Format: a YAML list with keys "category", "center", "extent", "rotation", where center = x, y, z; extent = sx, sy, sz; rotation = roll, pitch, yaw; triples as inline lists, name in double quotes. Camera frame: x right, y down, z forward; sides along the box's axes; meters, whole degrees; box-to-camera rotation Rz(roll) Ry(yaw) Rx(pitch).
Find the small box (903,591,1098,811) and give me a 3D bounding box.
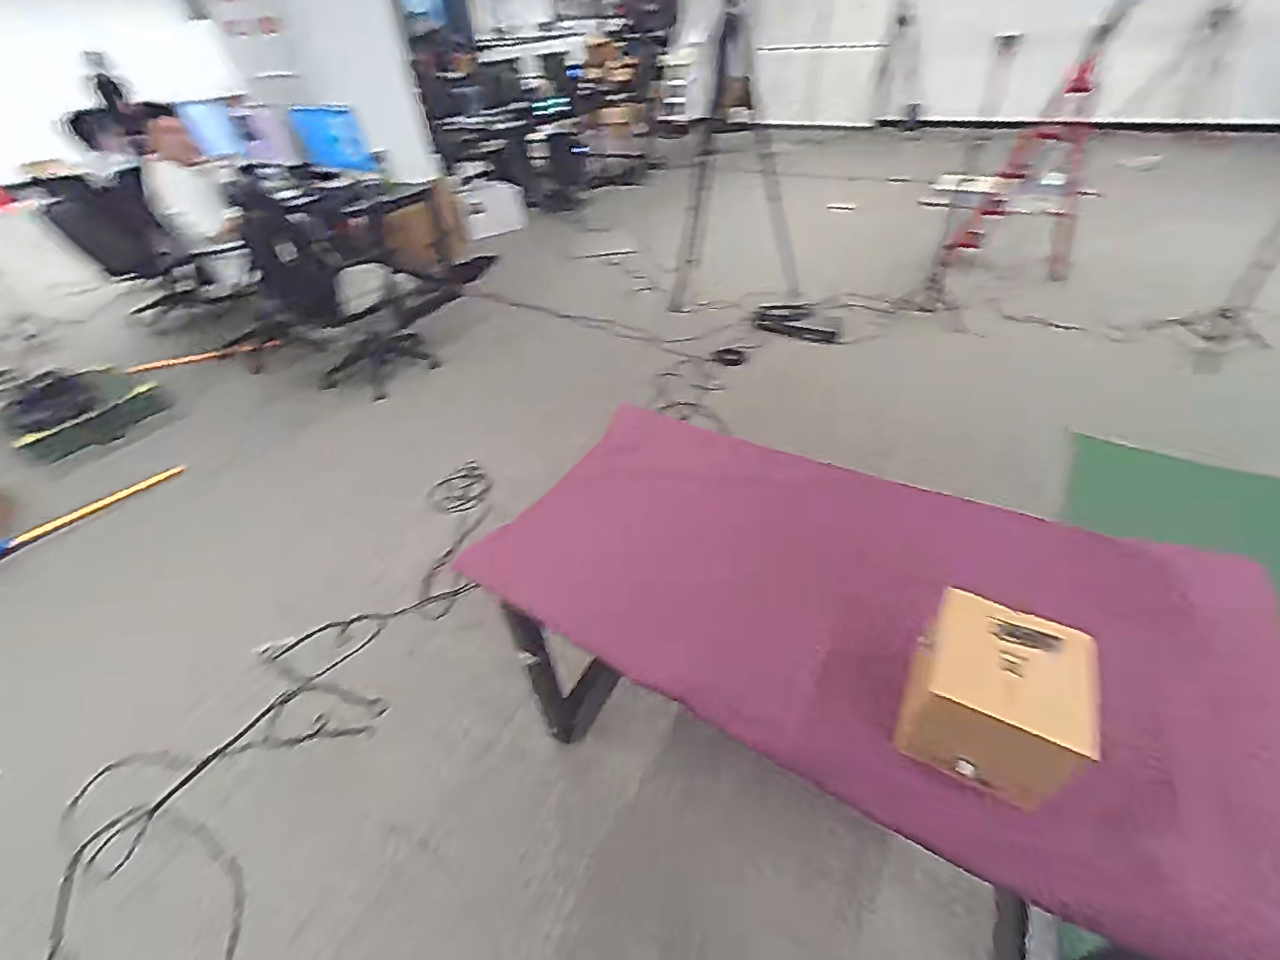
- category: "small box"
  center: [0.465, 0.287, 0.713]
  extent: [0.168, 0.176, 0.179]
  rotation: [19, 46, 25]
